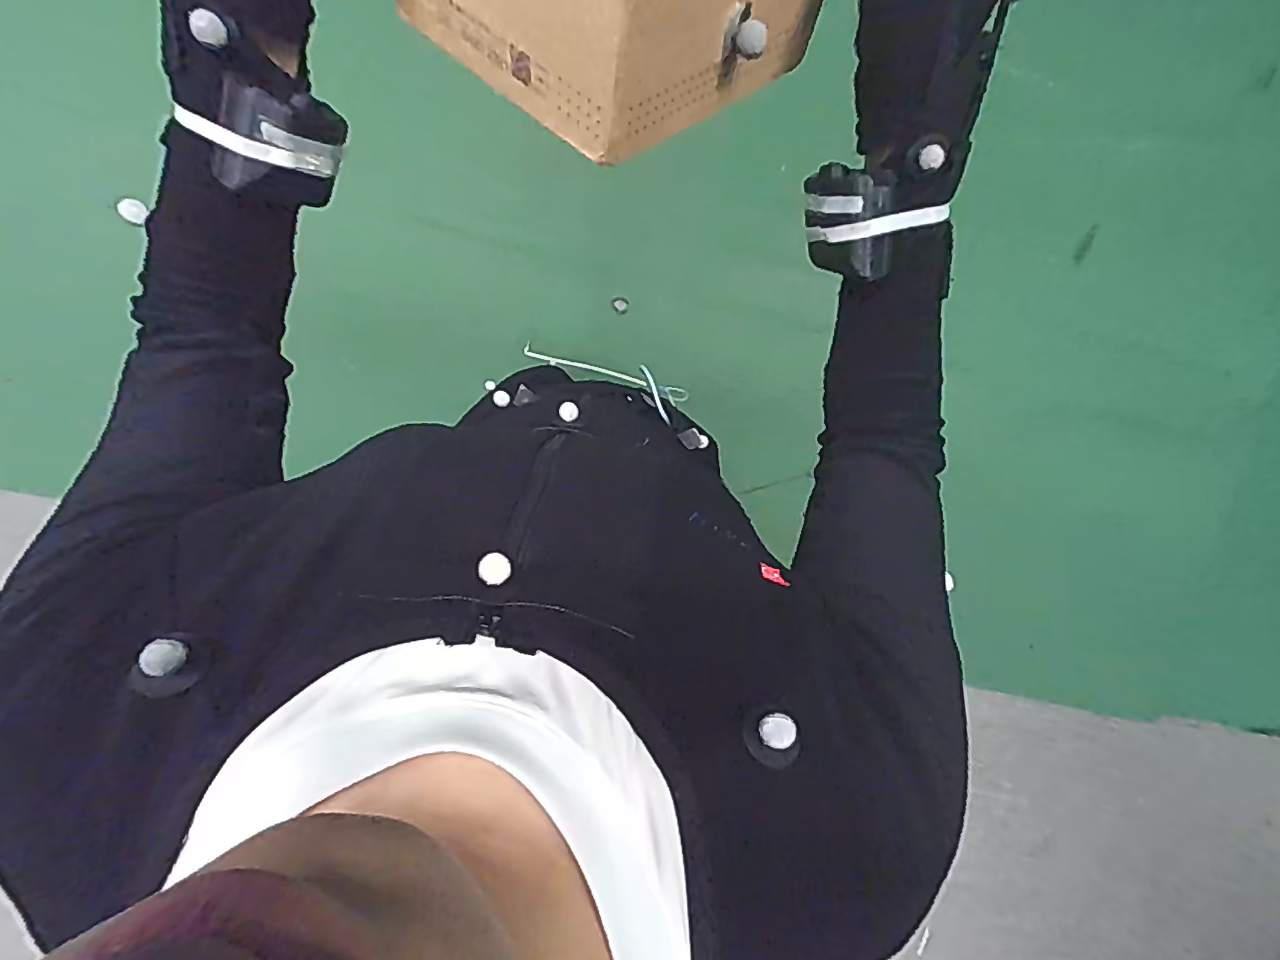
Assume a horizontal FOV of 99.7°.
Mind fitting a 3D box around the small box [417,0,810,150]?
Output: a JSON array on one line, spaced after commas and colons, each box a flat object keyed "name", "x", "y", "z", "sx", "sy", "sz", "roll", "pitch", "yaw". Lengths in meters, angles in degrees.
[{"name": "small box", "x": -0.002, "y": -0.301, "z": 0.252, "sx": 0.168, "sy": 0.176, "sz": 0.179, "roll": 42, "pitch": 65, "yaw": 11}]
